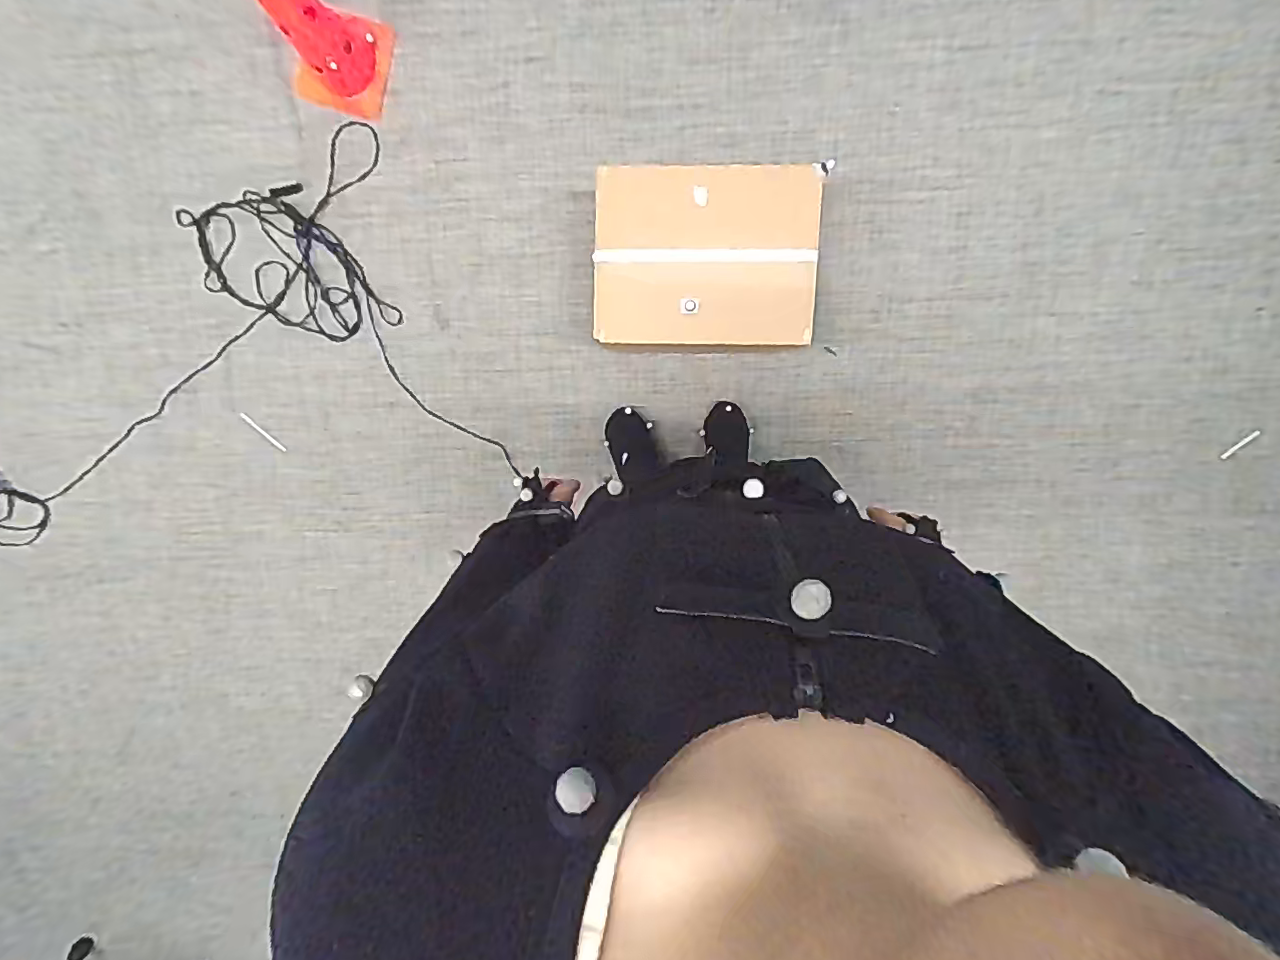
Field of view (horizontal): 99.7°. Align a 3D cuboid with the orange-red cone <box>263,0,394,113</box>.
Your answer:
[{"bbox_3d":[-0.673,-0.918,1.038,0.199,0.360,0.198,19,99,1],"label":"orange-red cone"}]
